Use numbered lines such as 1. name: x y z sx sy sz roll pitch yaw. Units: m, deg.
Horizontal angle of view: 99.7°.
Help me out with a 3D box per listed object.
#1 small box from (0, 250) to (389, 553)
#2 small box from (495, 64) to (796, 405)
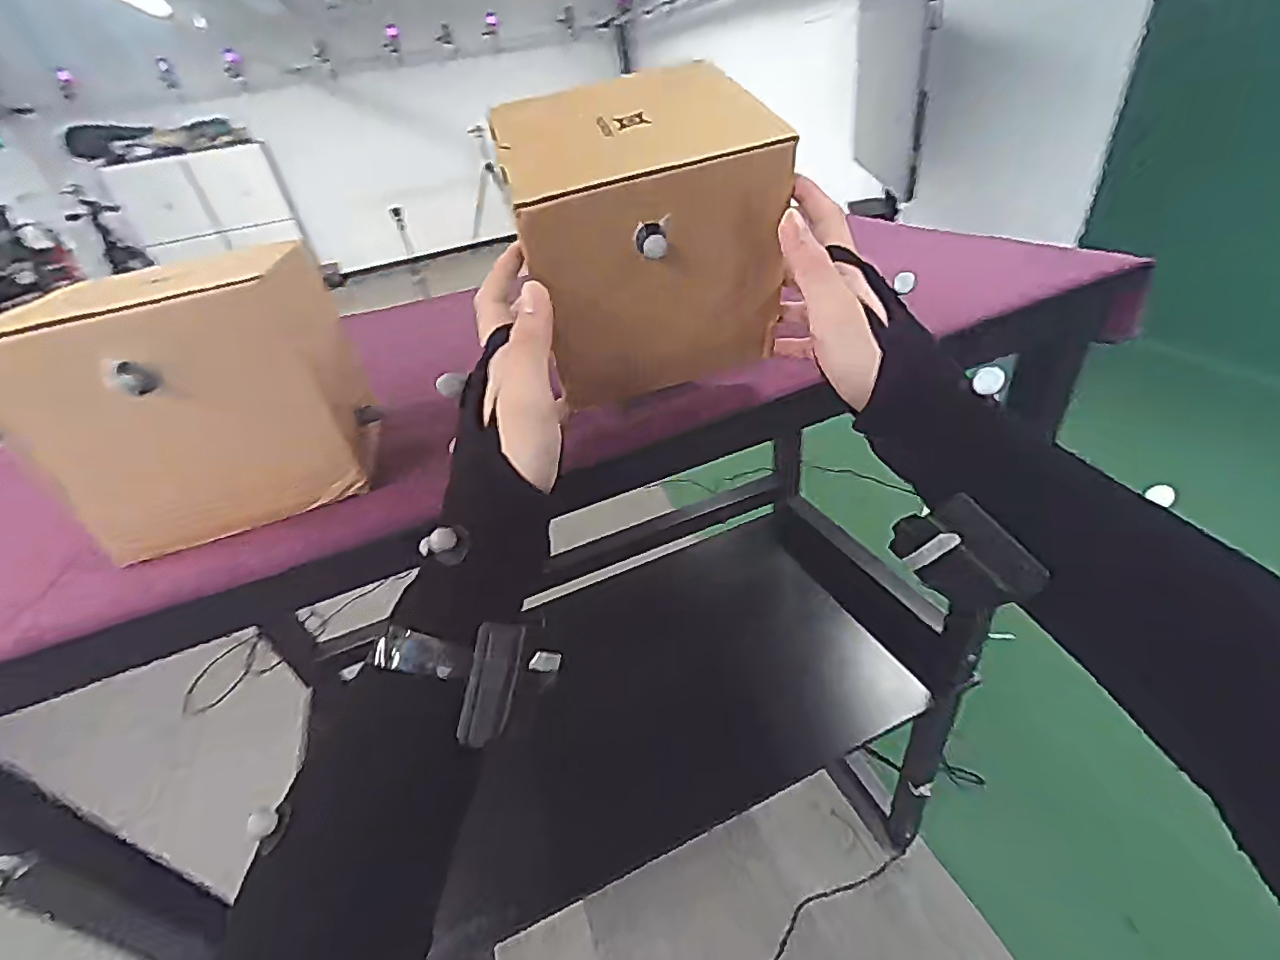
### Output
1. small box: -0.326 -0.068 0.431 0.179 0.176 0.168 -18 35 -12
2. small box: 0.002 -0.188 0.432 0.179 0.176 0.168 -17 53 -3
